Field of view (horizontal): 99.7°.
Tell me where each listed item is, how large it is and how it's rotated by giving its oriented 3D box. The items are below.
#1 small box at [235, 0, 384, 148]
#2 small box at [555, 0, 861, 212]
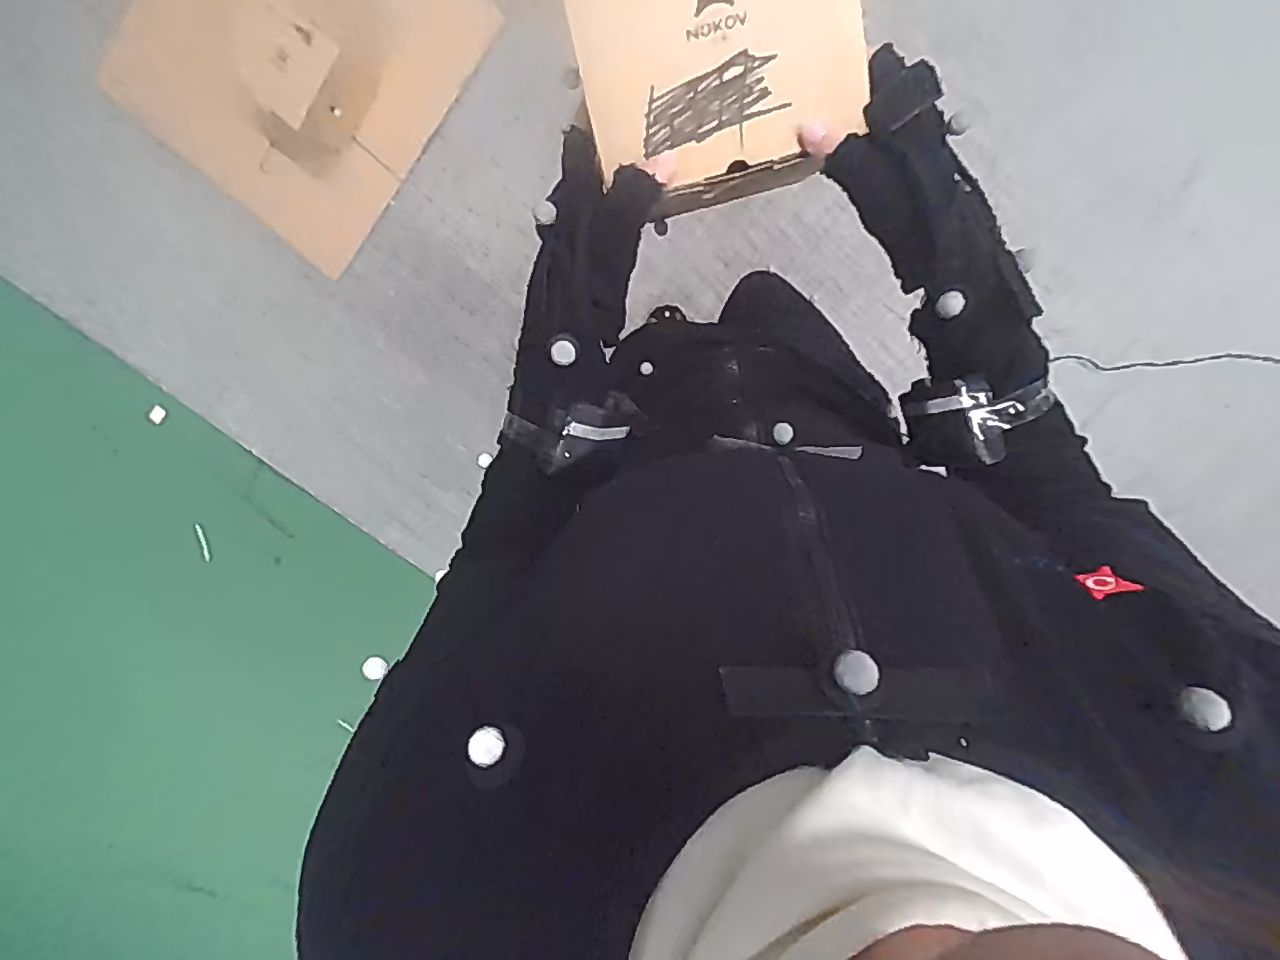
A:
[{"bbox_3d":[-0.662,-0.820,1.102,0.168,0.176,0.179,36,108,-8],"label":"small box"},{"bbox_3d":[0.039,-0.307,0.387,0.168,0.176,0.179,-15,111,8],"label":"small box"}]
